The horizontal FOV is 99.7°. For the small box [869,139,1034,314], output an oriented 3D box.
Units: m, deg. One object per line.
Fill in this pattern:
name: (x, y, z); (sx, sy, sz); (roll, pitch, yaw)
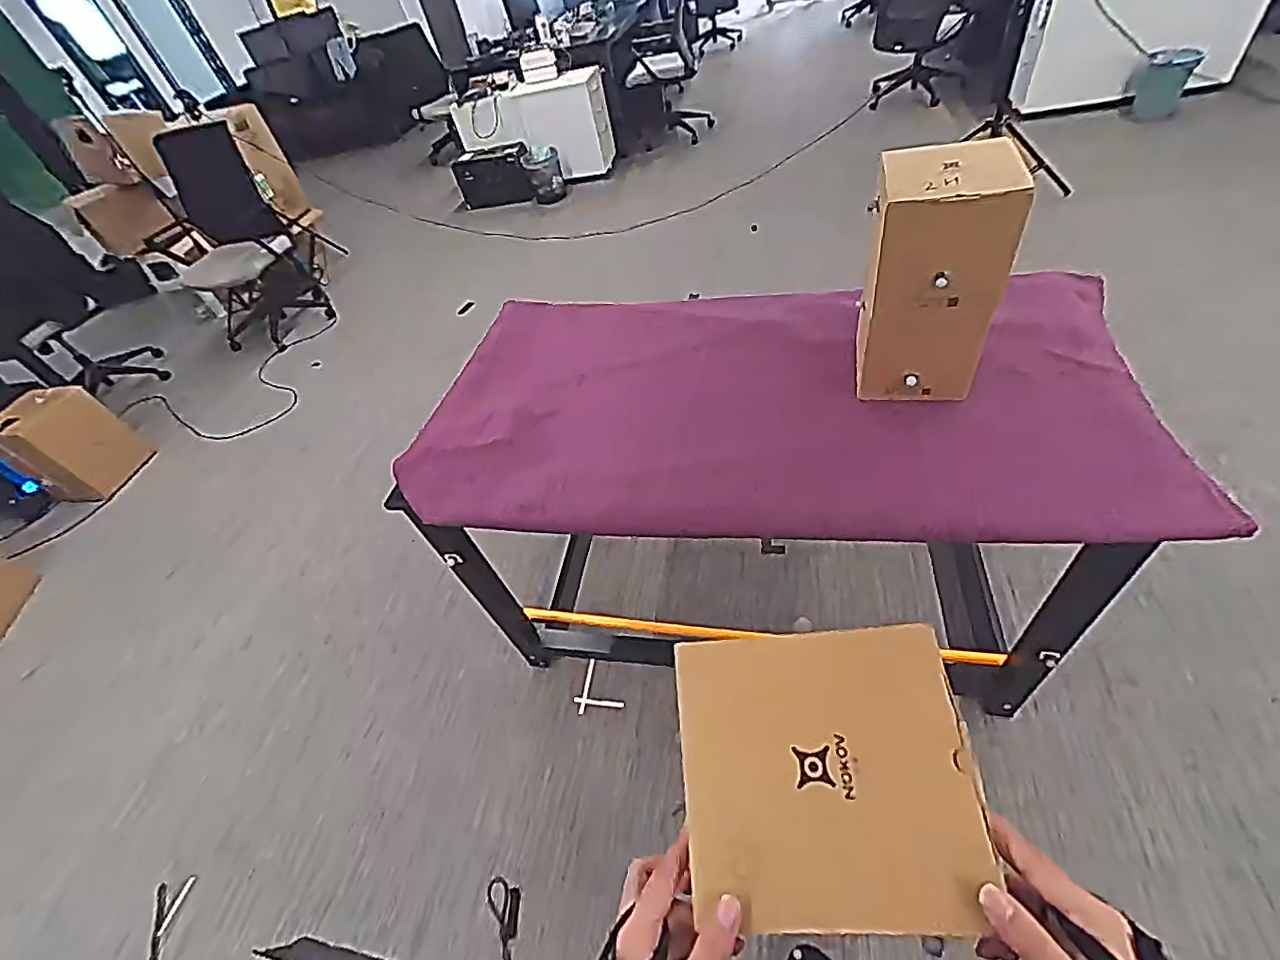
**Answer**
small box: (0.427, -0.359, 0.777); (0.168, 0.176, 0.179); (3, 50, 18)

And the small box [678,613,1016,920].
small box: (0.131, 0.207, 0.406); (0.179, 0.176, 0.168); (-7, 62, 9)

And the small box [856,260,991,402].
small box: (0.456, -0.251, 0.898); (0.168, 0.176, 0.179); (3, 50, 18)
